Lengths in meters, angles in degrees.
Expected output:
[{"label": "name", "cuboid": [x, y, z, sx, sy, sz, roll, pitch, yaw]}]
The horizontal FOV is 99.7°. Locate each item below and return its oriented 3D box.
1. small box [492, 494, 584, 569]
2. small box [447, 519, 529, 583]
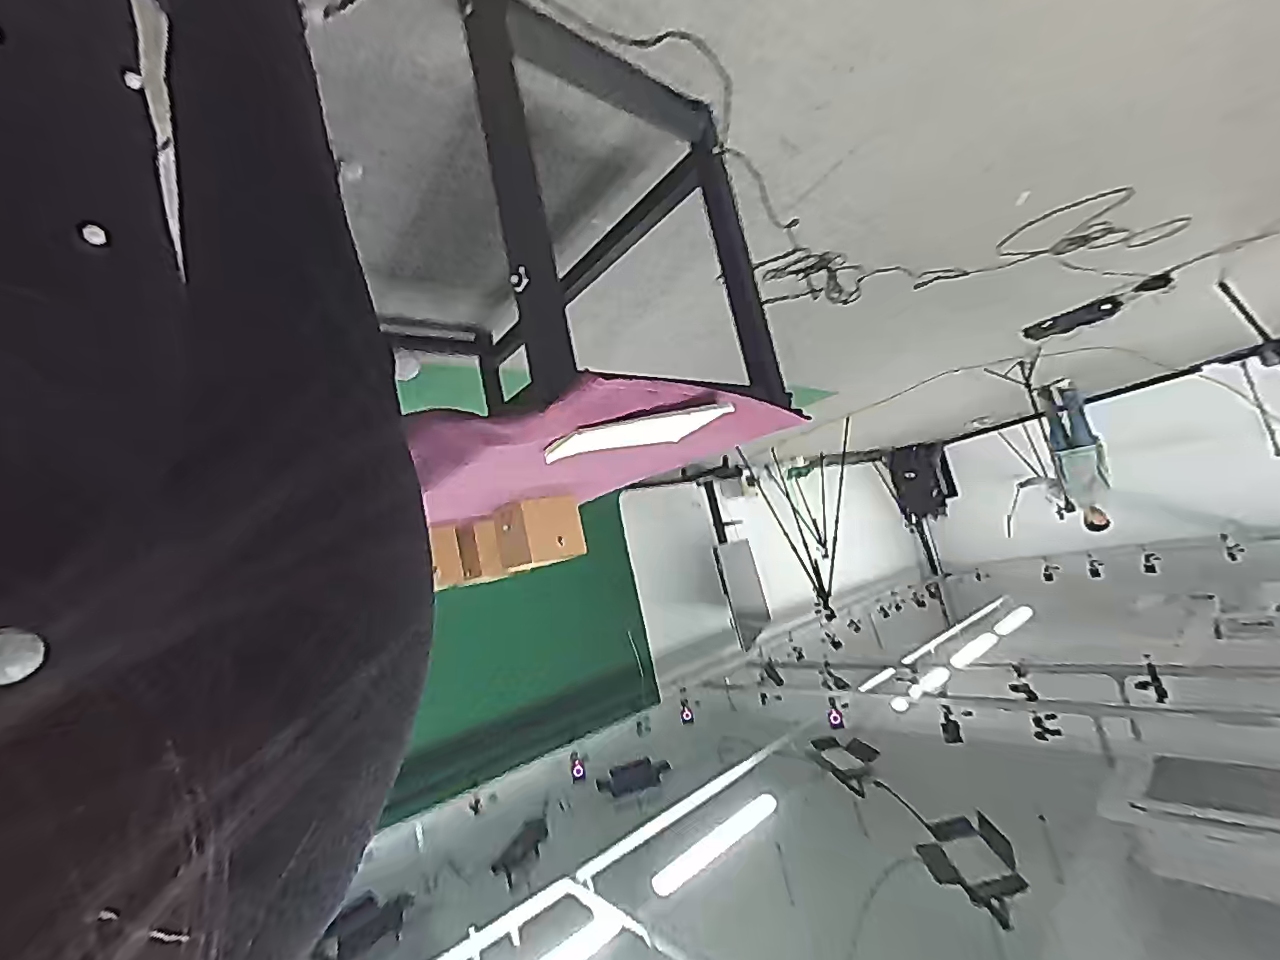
[{"label": "small box", "cuboid": [-0.282, 0.139, 1.480, 0.179, 0.176, 0.168, -4, 168, -43]}, {"label": "small box", "cuboid": [-0.482, 0.217, 1.706, 0.168, 0.176, 0.179, -21, 169, 42]}]
